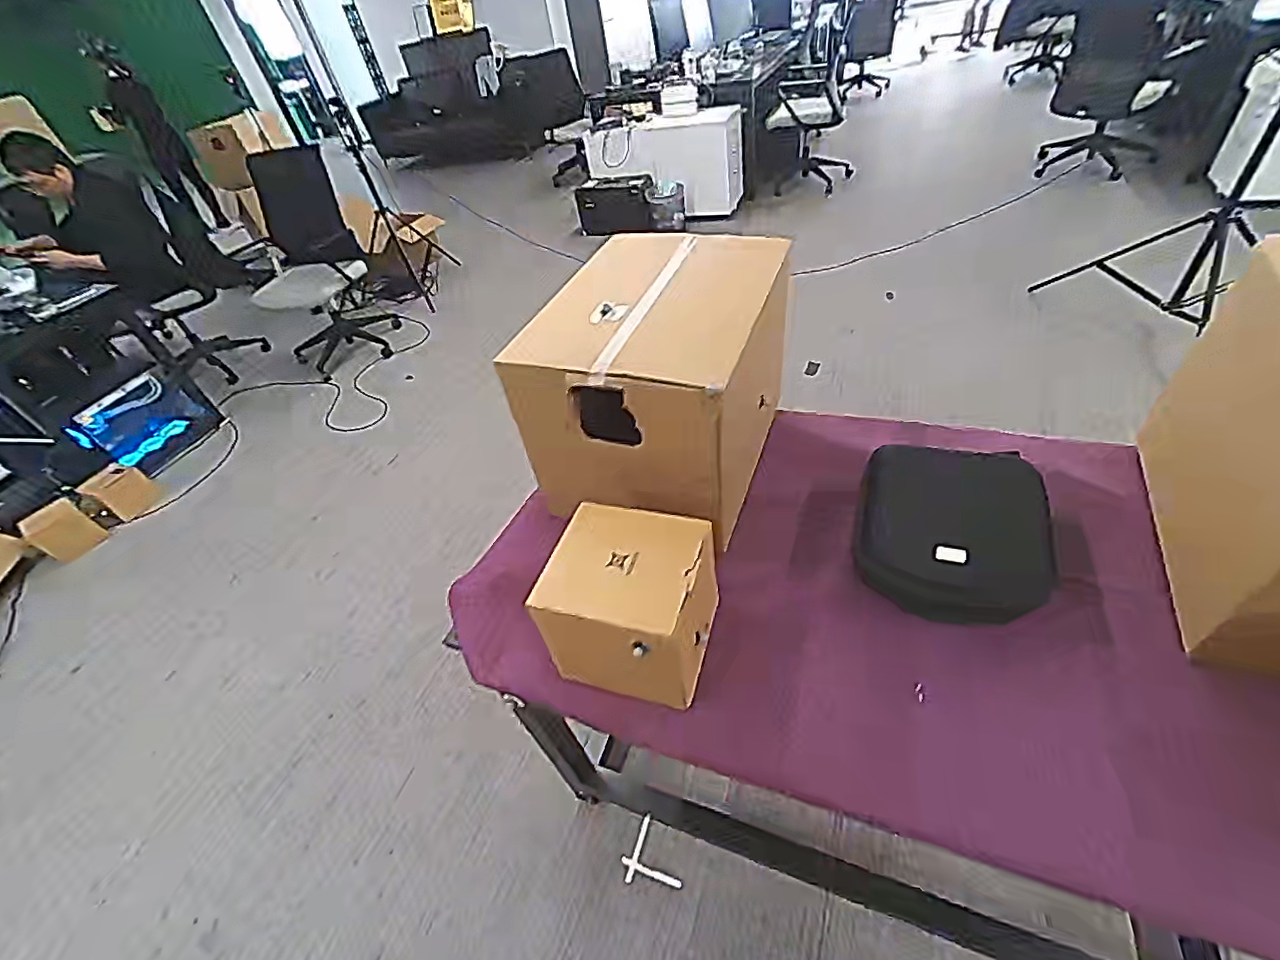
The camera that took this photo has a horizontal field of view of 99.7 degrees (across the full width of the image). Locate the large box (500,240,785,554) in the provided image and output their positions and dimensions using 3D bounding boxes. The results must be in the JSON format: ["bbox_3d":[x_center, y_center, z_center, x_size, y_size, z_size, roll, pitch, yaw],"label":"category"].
[{"bbox_3d":[0.040,-0.152,0.888,0.320,0.320,0.408,10,50,20],"label":"large box"}]

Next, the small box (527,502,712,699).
[{"bbox_3d":[-0.013,0.152,0.686,0.179,0.176,0.168,7,45,18],"label":"small box"}]
